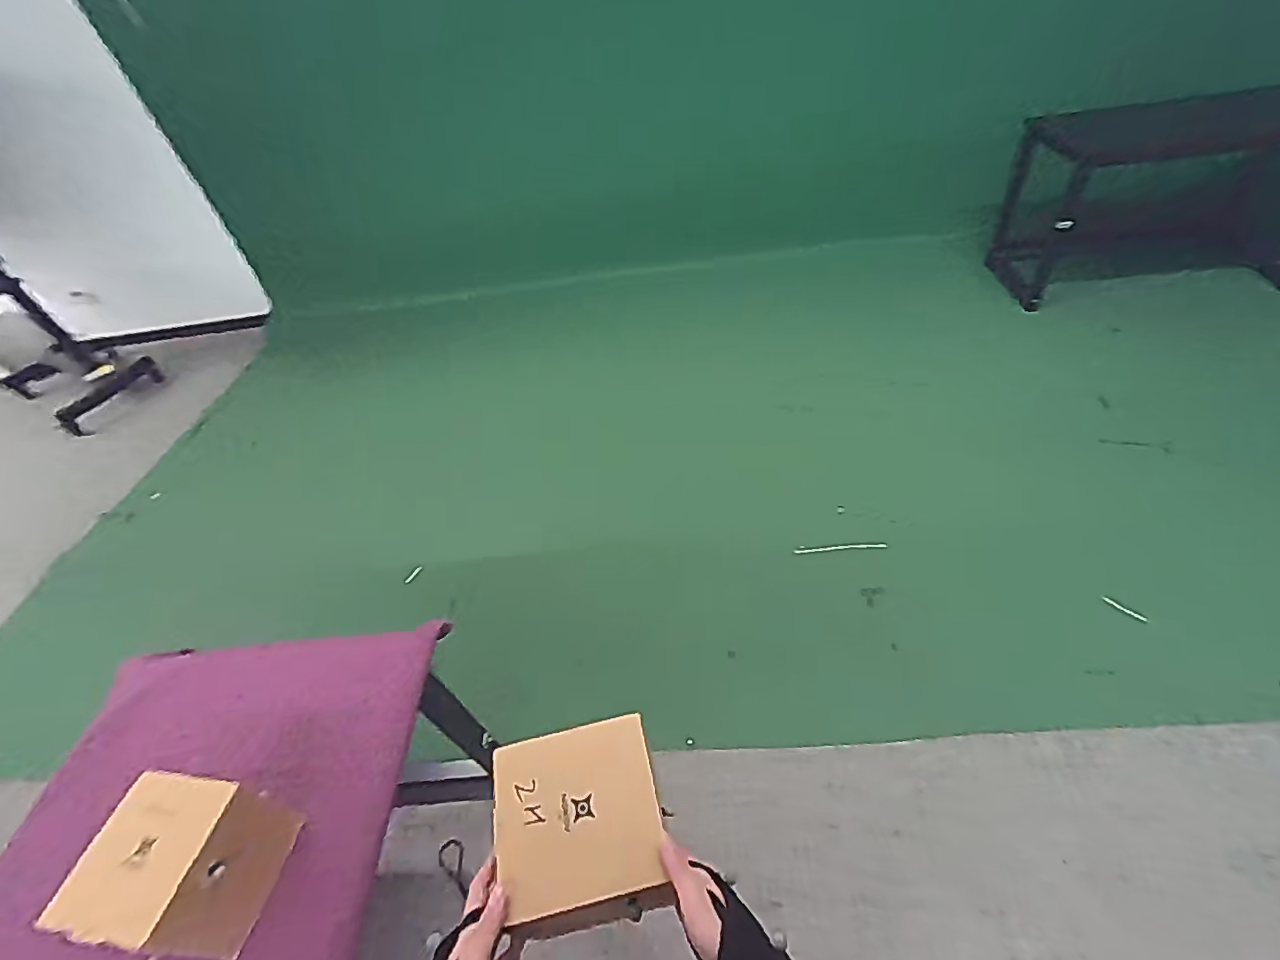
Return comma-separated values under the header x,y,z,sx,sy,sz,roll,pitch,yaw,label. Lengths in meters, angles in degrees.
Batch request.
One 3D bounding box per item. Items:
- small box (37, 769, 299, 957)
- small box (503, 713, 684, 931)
x,y,z,sx,sy,sz,roll,pitch,yaw,label
-0.621,0.526,0.743,0.168,0.176,0.179,1,46,12,small box
-0.050,0.396,0.626,0.179,0.176,0.168,-12,47,-3,small box
